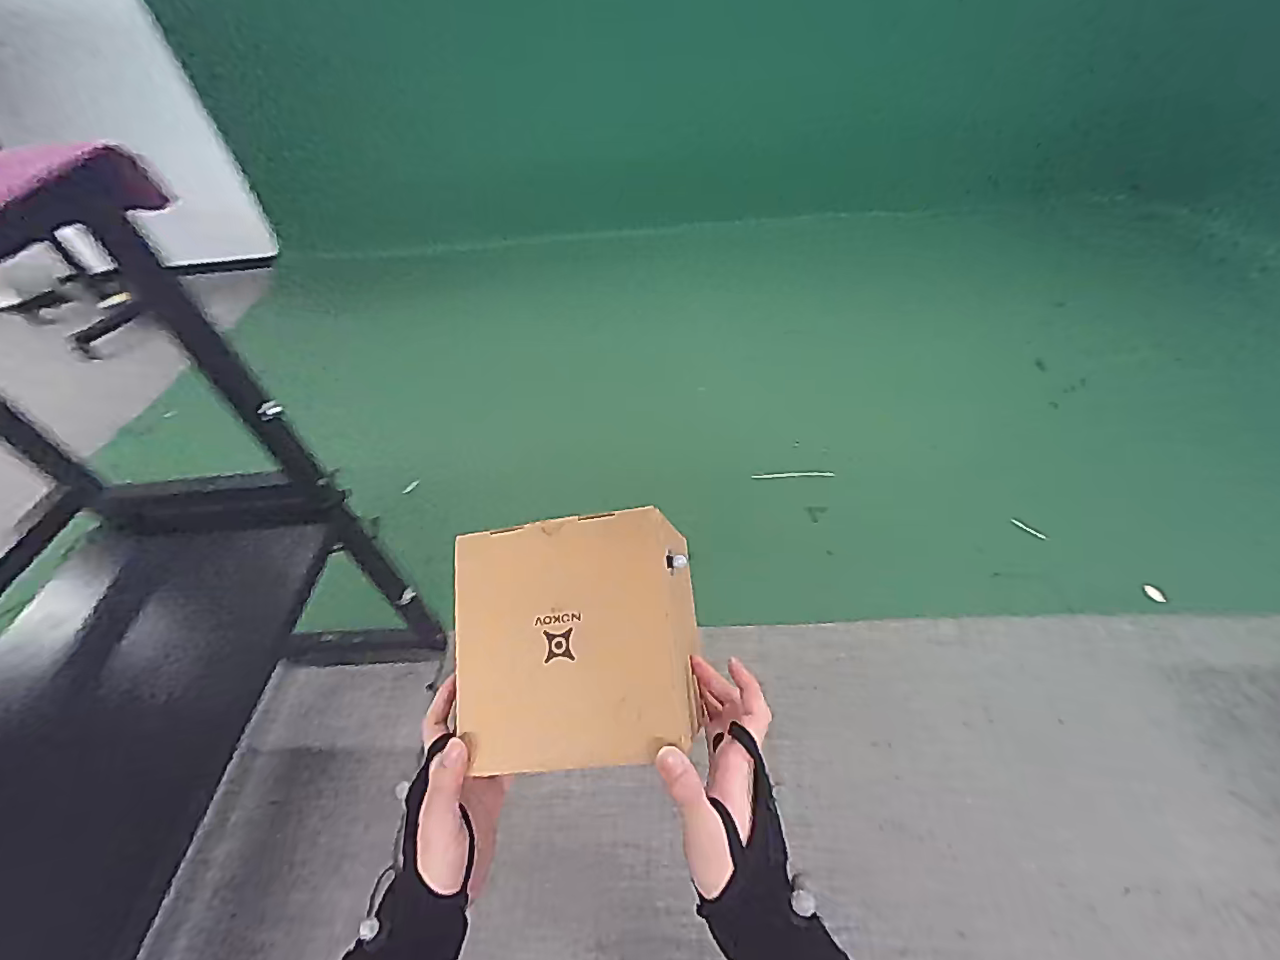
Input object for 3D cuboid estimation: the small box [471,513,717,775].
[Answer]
[{"bbox_3d":[-0.030,0.138,0.471,0.168,0.176,0.179,-9,73,11],"label":"small box"}]
